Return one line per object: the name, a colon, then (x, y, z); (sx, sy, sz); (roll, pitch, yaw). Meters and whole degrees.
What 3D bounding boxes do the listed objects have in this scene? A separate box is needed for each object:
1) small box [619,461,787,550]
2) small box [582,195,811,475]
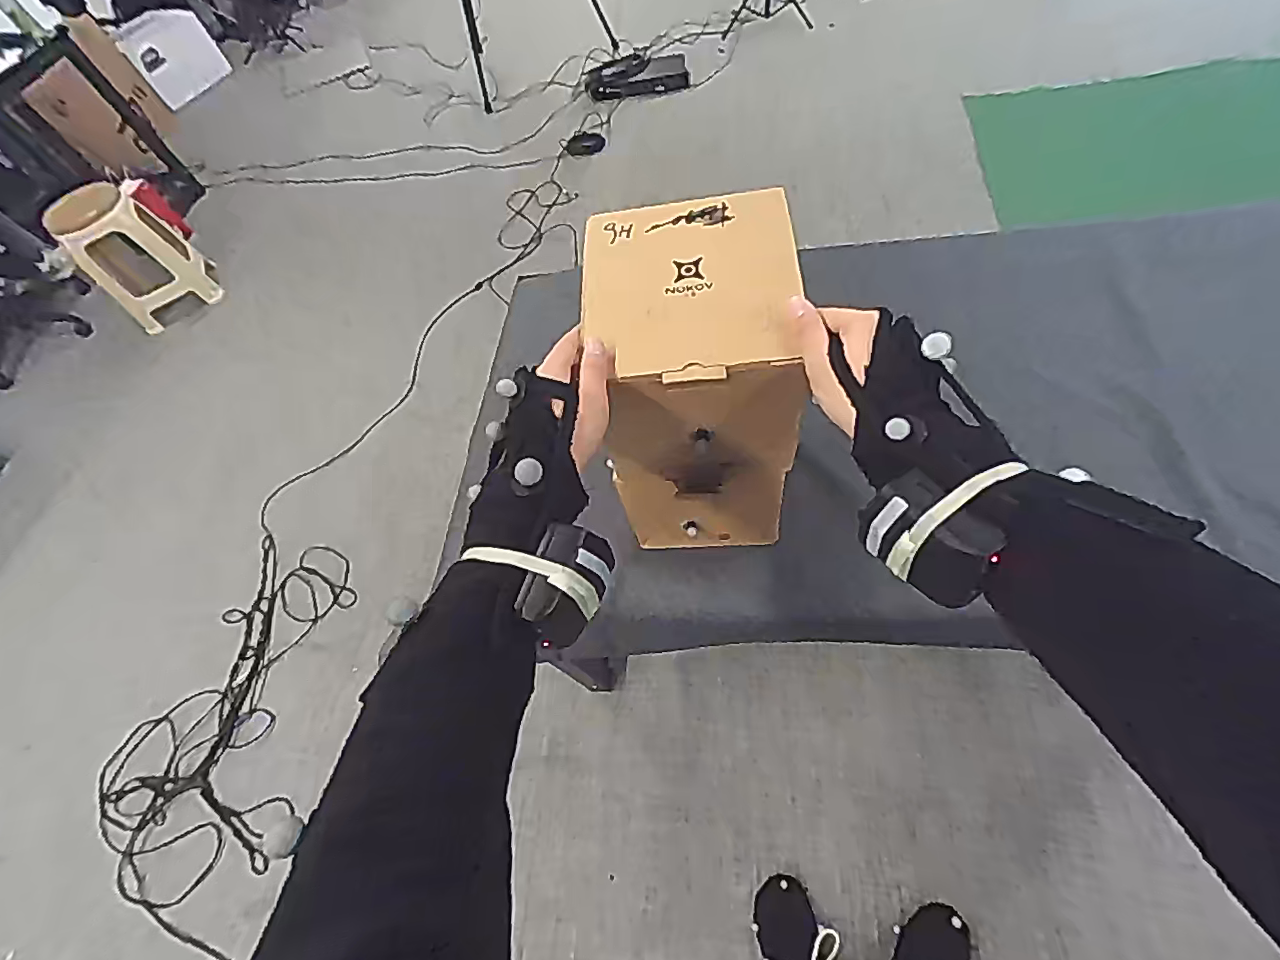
small box: (0.074, -0.033, 0.631); (0.168, 0.176, 0.179); (-4, 59, 9)
small box: (0.051, -0.113, 0.484); (0.168, 0.176, 0.179); (-5, 64, 8)
